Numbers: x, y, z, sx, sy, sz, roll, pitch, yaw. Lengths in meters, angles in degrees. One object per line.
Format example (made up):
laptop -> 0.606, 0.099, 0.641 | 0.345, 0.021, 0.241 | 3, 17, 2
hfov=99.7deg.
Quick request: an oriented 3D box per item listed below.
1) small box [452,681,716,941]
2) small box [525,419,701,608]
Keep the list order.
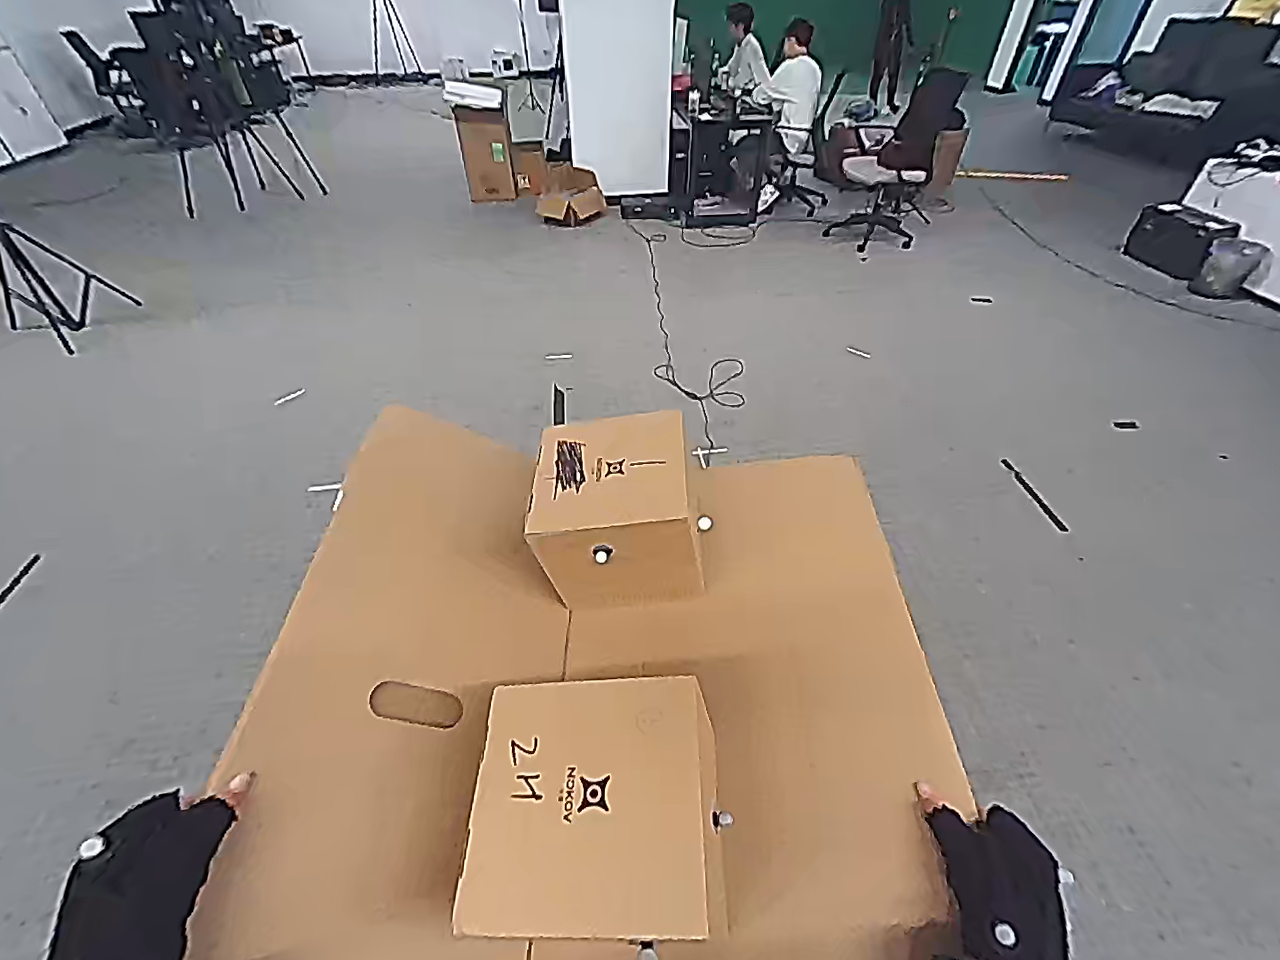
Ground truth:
small box -> -0.028, 0.287, 0.468 | 0.179, 0.176, 0.168 | -6, 48, 9
small box -> -0.024, 0.049, 0.678 | 0.179, 0.176, 0.168 | -7, 48, 8
